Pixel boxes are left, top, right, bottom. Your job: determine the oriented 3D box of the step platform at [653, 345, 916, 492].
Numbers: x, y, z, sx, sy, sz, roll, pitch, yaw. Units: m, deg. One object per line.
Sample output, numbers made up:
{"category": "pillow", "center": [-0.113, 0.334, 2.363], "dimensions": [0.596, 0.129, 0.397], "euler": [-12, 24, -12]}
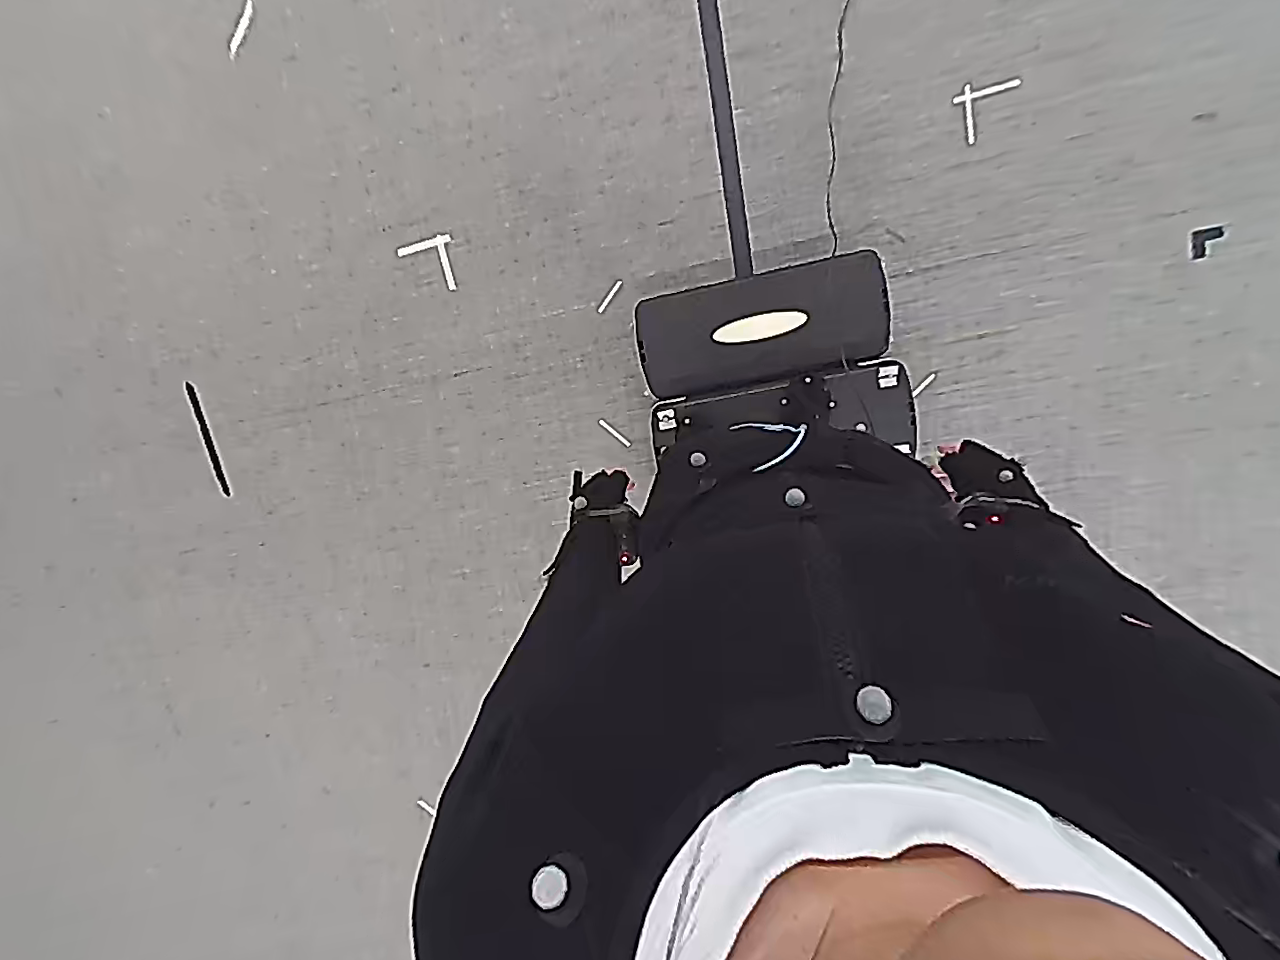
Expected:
{"category": "step platform", "center": [0.378, -0.163, 1.488], "dimensions": [0.684, 0.204, 0.286], "euler": [-11, 99, 11]}
